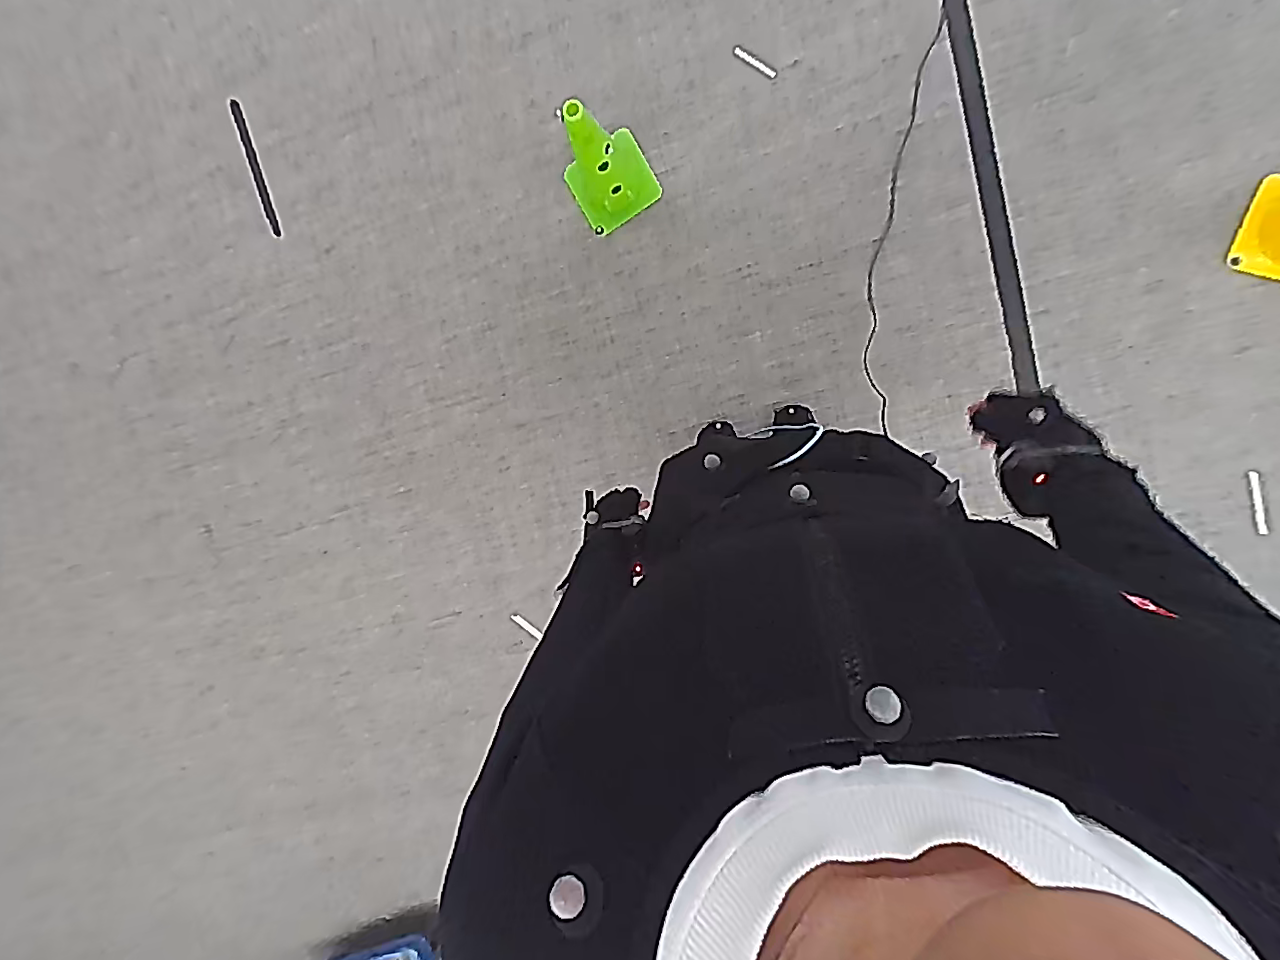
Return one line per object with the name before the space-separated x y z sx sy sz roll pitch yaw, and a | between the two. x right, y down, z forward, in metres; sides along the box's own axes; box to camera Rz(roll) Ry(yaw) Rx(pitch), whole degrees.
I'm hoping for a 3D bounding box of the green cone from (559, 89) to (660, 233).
green cone | -0.101 -0.743 1.210 0.200 0.368 0.202 -30 90 11
